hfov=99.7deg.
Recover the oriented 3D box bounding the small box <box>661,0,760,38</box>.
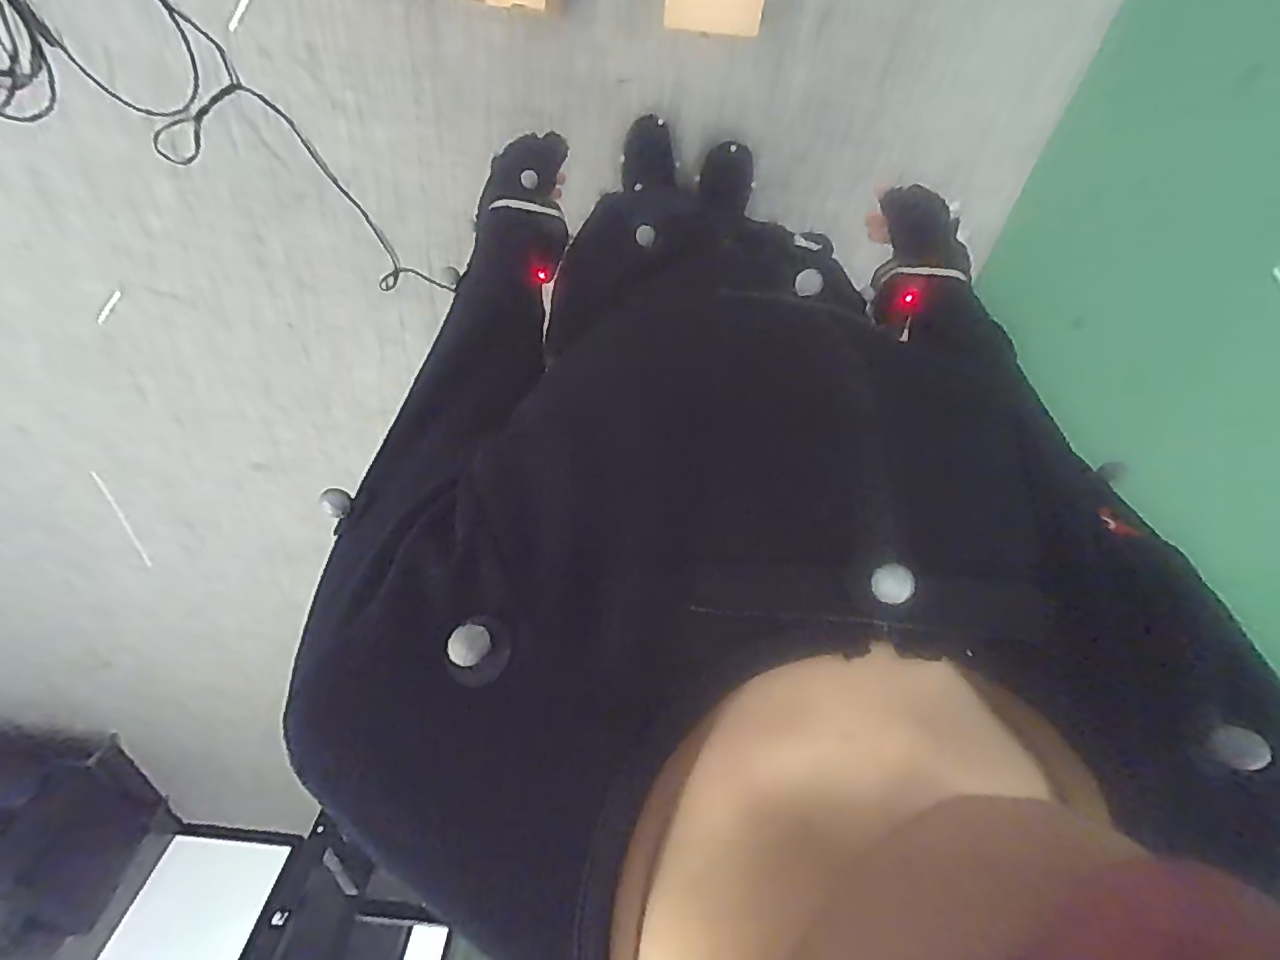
[{"bbox_3d":[0.130,-0.893,0.944,0.168,0.176,0.179,5,128,-2],"label":"small box"}]

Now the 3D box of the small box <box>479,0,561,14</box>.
[{"bbox_3d":[-0.228,-0.936,0.934,0.168,0.176,0.179,7,128,-2],"label":"small box"}]
